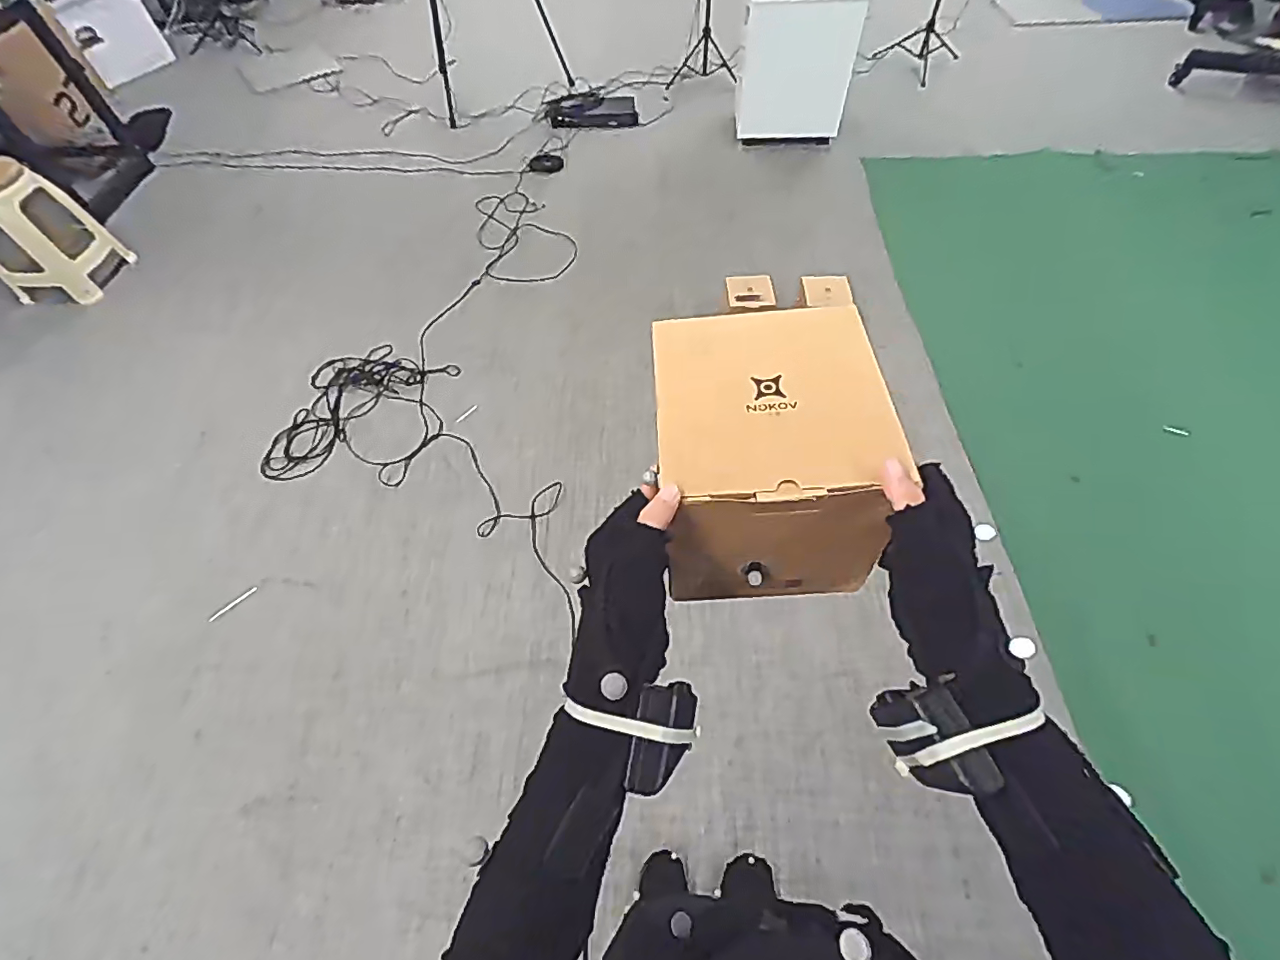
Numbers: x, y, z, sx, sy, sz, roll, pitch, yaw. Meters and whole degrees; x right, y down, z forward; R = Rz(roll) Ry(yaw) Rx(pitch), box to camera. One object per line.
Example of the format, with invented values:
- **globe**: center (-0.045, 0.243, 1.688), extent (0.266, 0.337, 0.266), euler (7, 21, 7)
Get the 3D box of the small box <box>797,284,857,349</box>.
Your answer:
- **small box**: center (0.695, -0.615, 2.033), extent (0.168, 0.176, 0.179), euler (0, 57, 4)
